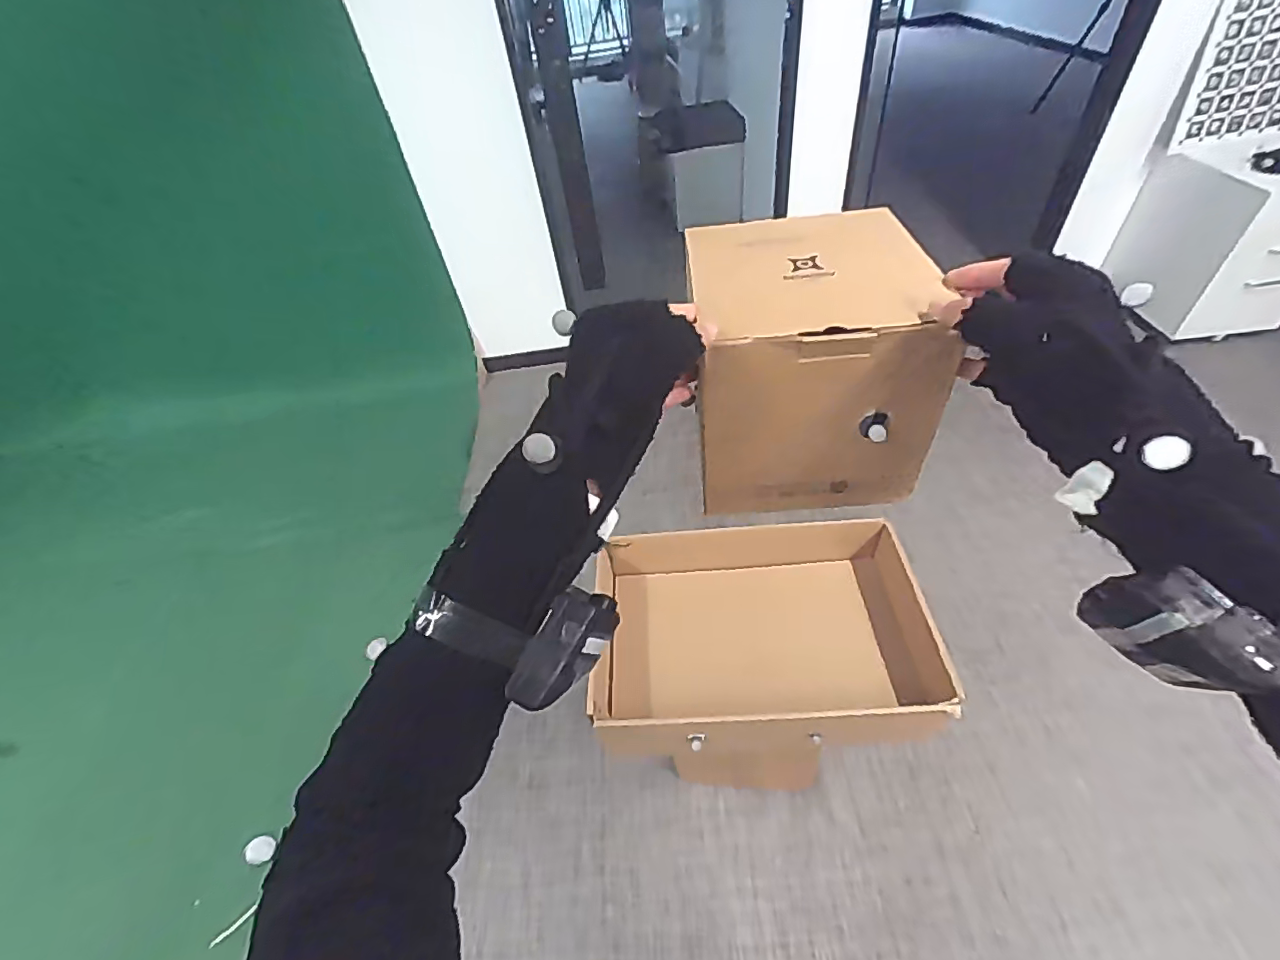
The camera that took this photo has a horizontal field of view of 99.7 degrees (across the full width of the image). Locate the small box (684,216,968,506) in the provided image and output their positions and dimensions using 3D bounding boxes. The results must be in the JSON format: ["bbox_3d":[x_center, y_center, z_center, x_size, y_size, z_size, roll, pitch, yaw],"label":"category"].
[{"bbox_3d":[0.127,-0.091,0.445,0.168,0.176,0.179,-4,45,3],"label":"small box"}]
